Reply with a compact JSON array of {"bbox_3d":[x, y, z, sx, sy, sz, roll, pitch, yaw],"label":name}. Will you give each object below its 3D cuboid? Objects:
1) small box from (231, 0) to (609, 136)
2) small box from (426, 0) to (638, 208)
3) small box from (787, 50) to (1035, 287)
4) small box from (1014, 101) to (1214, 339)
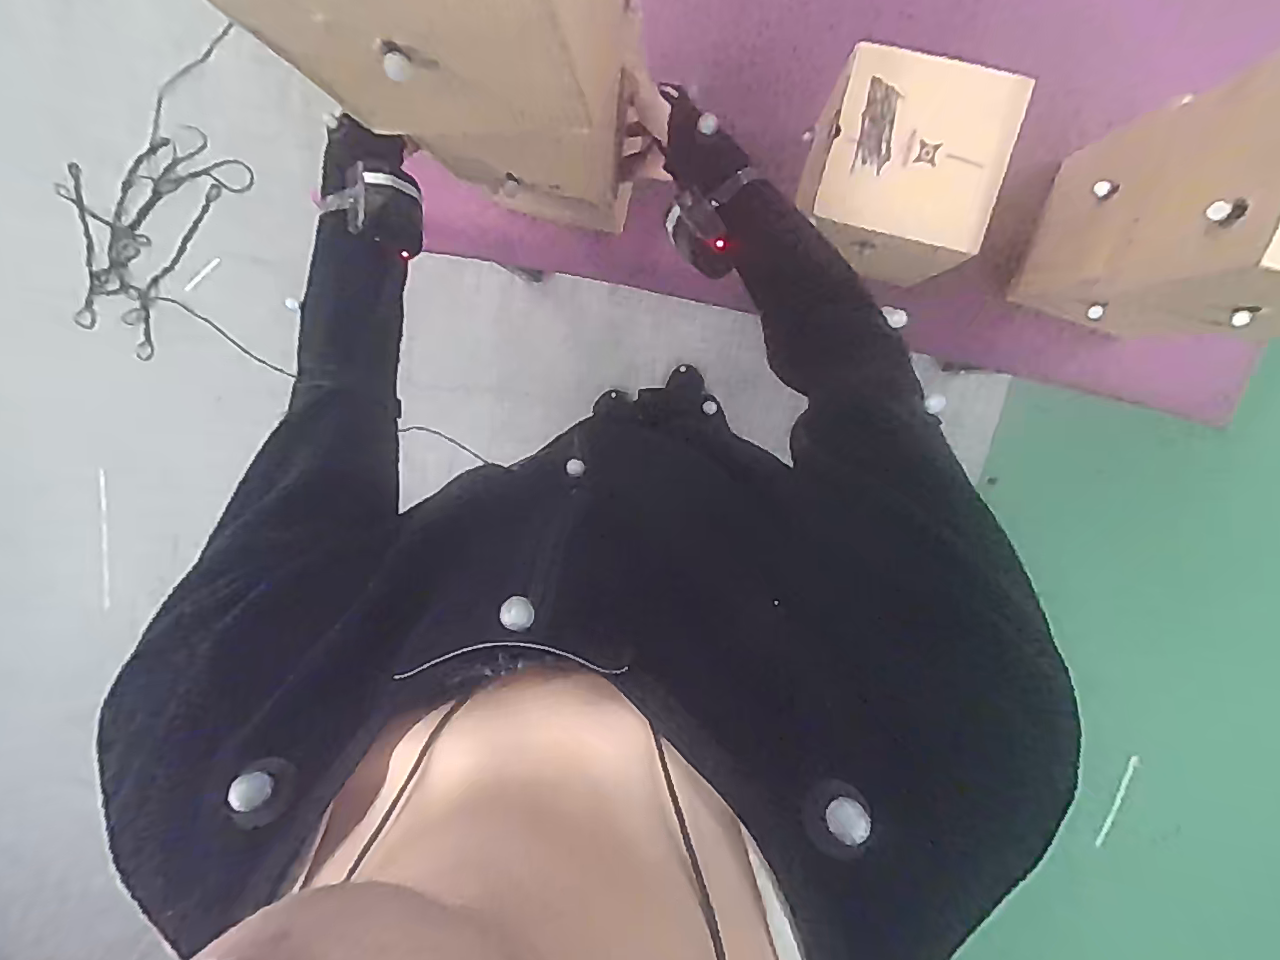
[{"bbox_3d":[-0.116,-0.322,0.310,0.179,0.176,0.168,1,100,5],"label":"small box"},{"bbox_3d":[-0.095,-0.362,0.468,0.168,0.176,0.179,8,102,3],"label":"small box"},{"bbox_3d":[0.282,-0.331,0.612,0.179,0.176,0.168,14,100,1],"label":"small box"},{"bbox_3d":[0.565,-0.266,0.602,0.168,0.176,0.179,19,101,2],"label":"small box"}]
